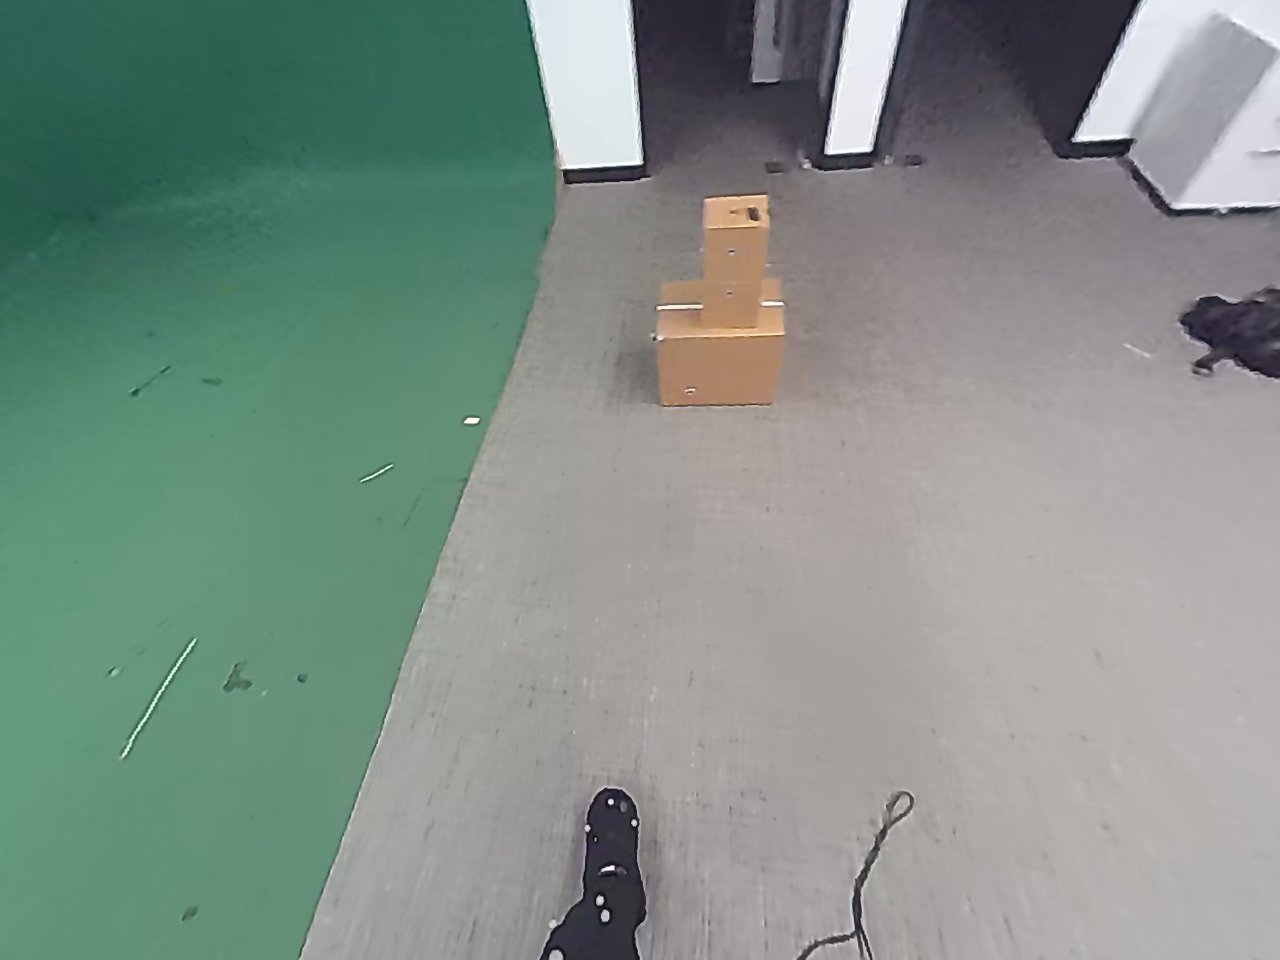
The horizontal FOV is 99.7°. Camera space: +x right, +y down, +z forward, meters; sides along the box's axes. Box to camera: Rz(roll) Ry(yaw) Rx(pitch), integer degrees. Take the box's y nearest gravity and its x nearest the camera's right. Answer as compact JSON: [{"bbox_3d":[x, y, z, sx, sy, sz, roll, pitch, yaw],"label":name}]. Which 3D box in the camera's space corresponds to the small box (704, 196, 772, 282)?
[{"bbox_3d":[0.277,-0.691,1.559,0.179,0.176,0.168,1,55,6],"label":"small box"}]

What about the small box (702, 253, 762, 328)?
[{"bbox_3d":[0.284,-0.594,1.692,0.179,0.176,0.168,2,55,7],"label":"small box"}]
